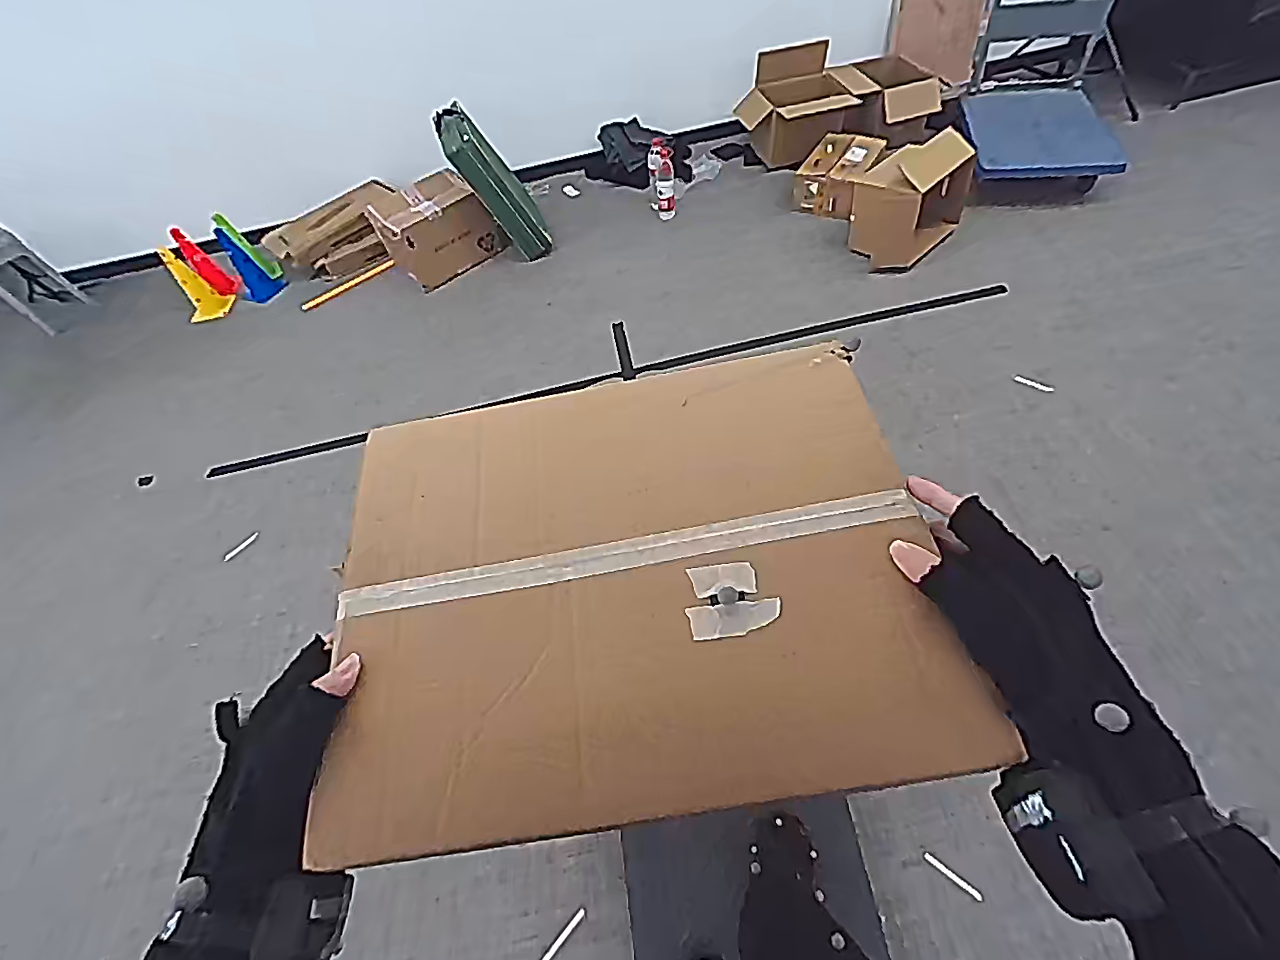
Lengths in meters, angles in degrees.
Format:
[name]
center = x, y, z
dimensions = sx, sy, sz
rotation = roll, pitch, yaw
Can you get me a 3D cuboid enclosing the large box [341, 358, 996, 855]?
[large box]
center = 0.010, 0.134, 0.521
dimensions = 0.408, 0.320, 0.320
rotation = -10, 59, 2
